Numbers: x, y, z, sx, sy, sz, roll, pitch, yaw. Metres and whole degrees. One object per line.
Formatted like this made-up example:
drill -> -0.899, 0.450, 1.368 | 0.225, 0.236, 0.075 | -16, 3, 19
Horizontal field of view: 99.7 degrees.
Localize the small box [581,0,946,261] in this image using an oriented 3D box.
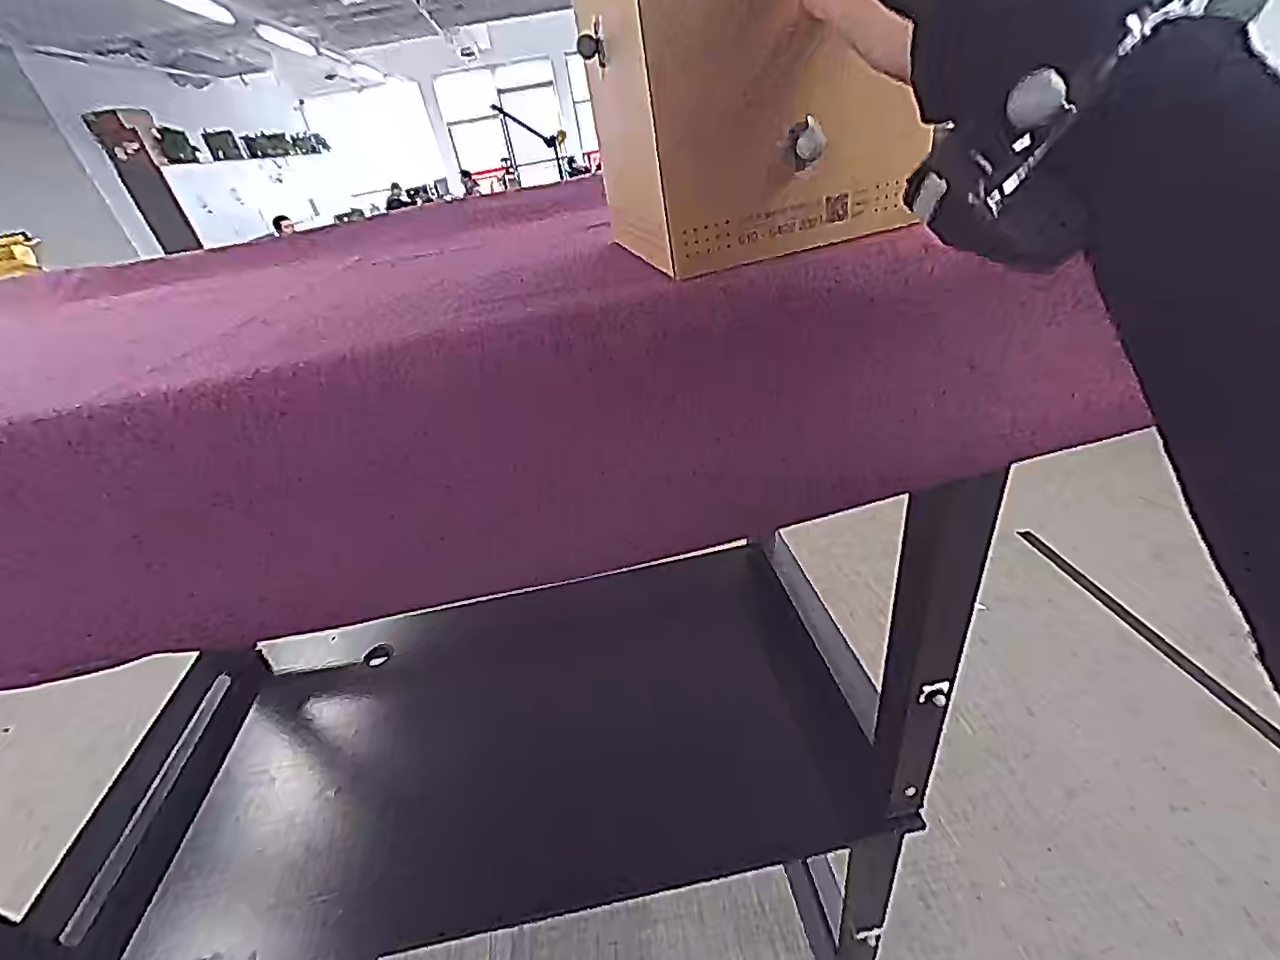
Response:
small box -> 0.065, -0.251, 0.352 | 0.168, 0.176, 0.179 | -16, 33, -7
